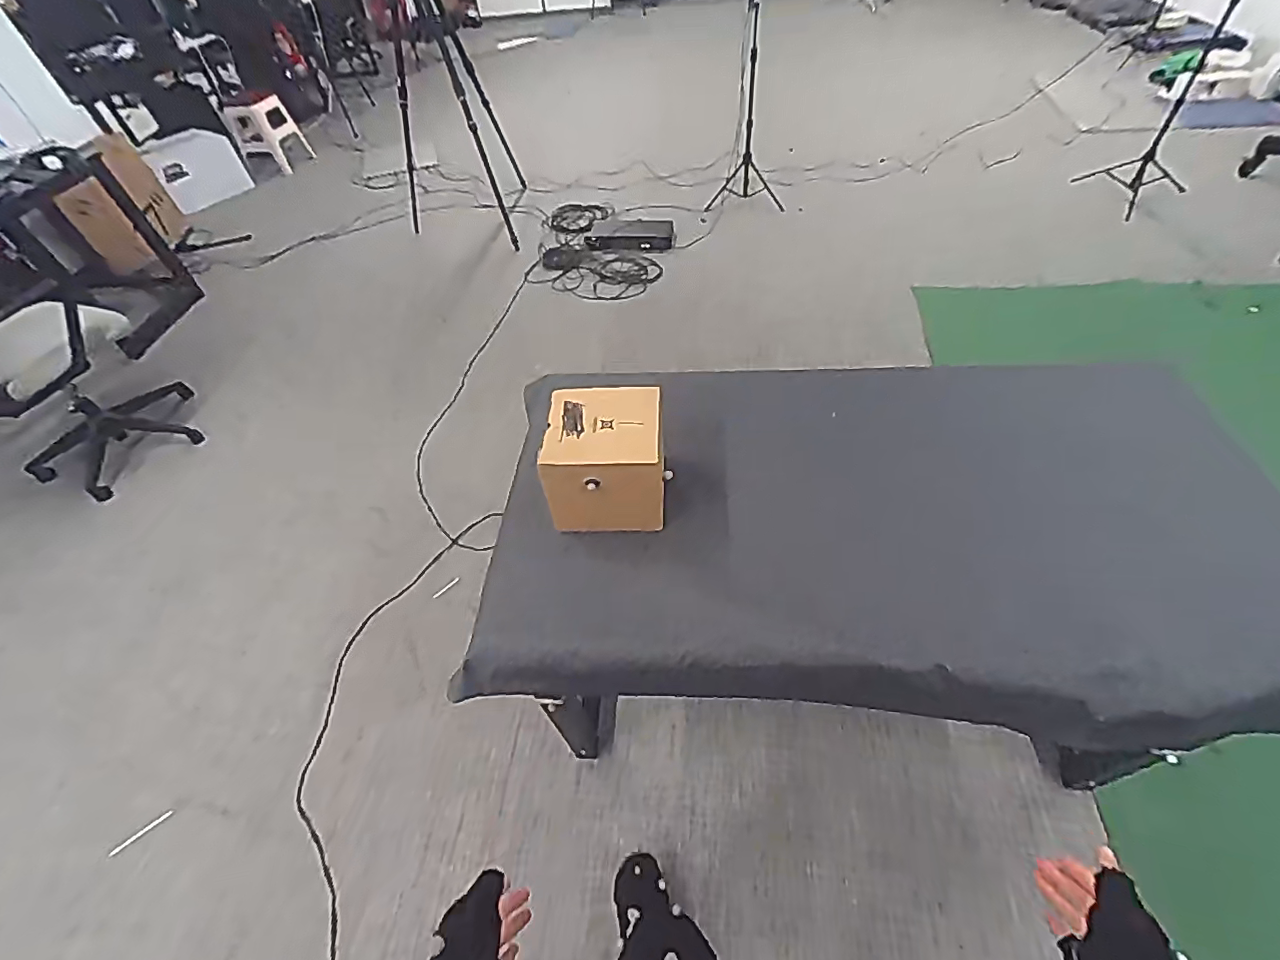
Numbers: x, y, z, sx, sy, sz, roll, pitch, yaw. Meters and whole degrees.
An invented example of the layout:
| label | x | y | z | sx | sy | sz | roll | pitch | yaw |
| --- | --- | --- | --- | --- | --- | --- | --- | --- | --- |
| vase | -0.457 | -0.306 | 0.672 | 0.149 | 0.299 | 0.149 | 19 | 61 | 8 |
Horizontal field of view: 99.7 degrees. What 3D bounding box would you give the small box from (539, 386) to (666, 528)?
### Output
| label | x | y | z | sx | sy | sz | roll | pitch | yaw |
| --- | --- | --- | --- | --- | --- | --- | --- | --- | --- |
| small box | -0.049 | -0.034 | 0.879 | 0.179 | 0.176 | 0.168 | 0 | 50 | 4 |
